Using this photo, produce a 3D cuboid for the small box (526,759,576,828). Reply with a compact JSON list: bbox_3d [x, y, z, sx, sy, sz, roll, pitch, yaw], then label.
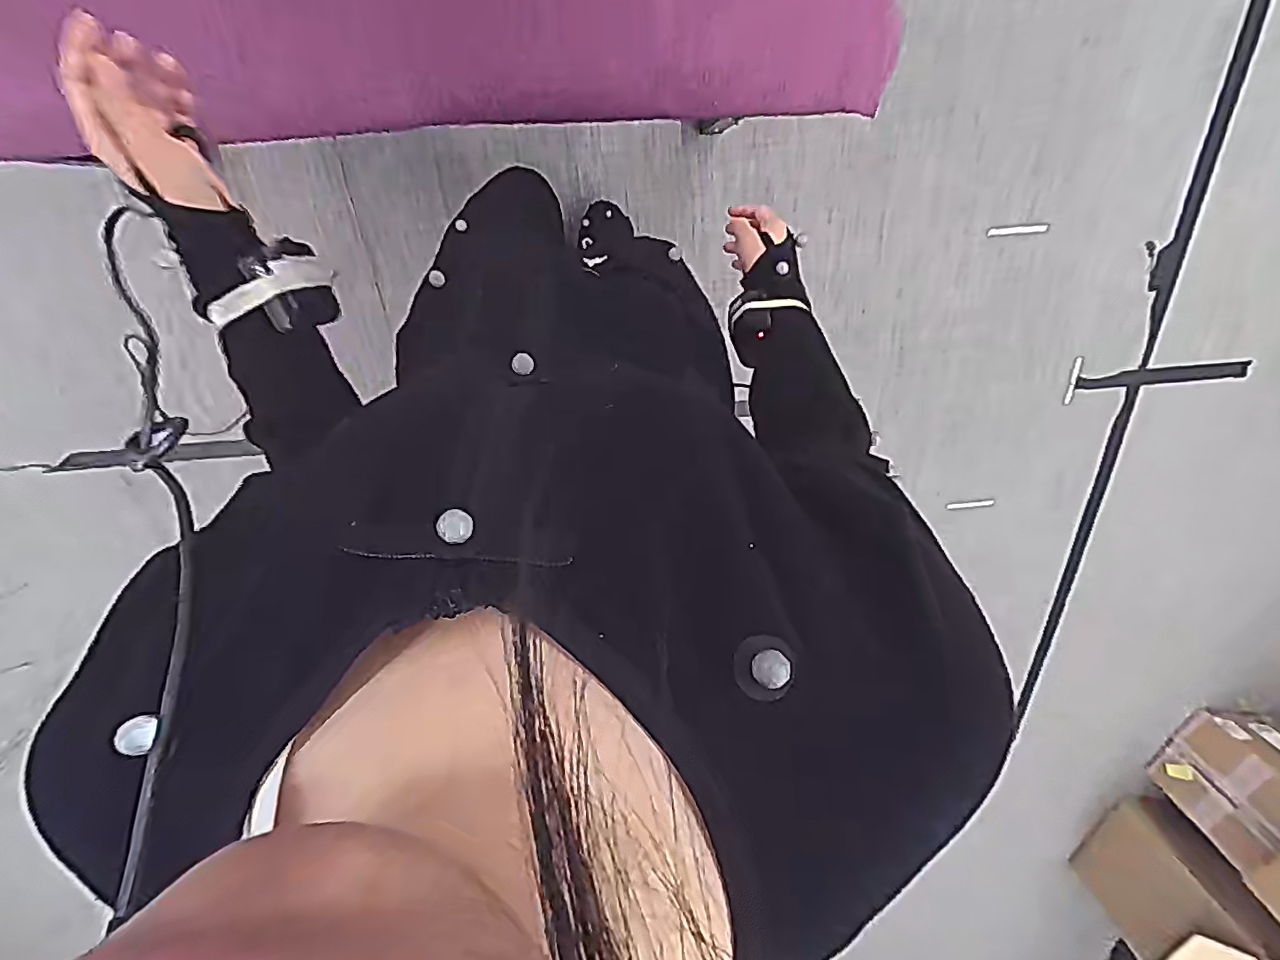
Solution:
[{"bbox_3d":[-0.336,1.191,2.066,0.168,0.176,0.179,-3,117,-2],"label":"small box"}]
